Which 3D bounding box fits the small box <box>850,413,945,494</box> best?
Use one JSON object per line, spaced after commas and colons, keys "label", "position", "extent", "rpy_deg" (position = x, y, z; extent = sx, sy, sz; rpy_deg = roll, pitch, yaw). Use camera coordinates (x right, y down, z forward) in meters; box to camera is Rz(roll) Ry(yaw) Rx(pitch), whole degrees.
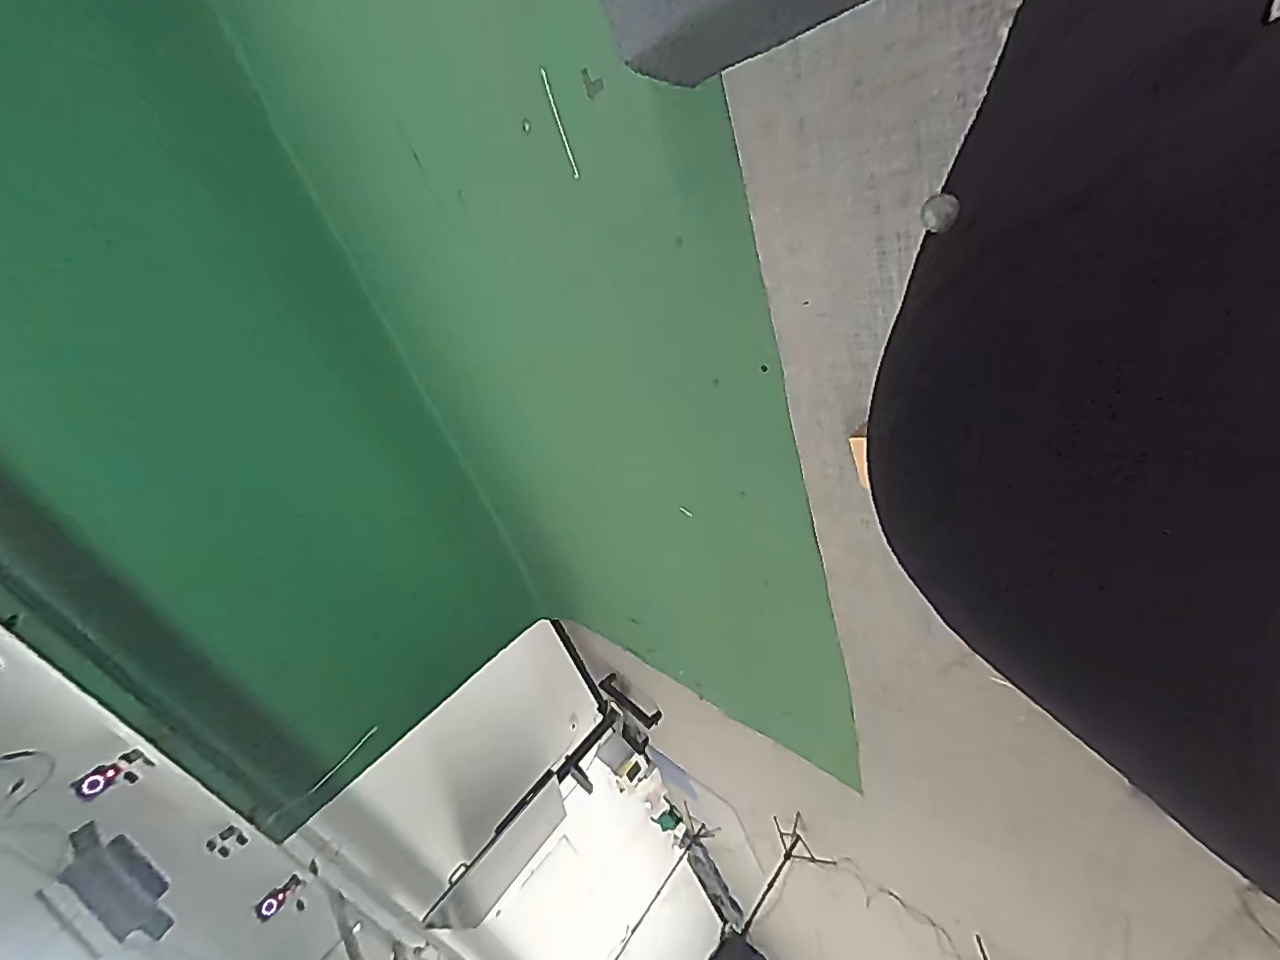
{"label": "small box", "position": [0.717, -0.077, 1.493], "extent": [0.179, 0.176, 0.168], "rpy_deg": [6, 126, 52]}
